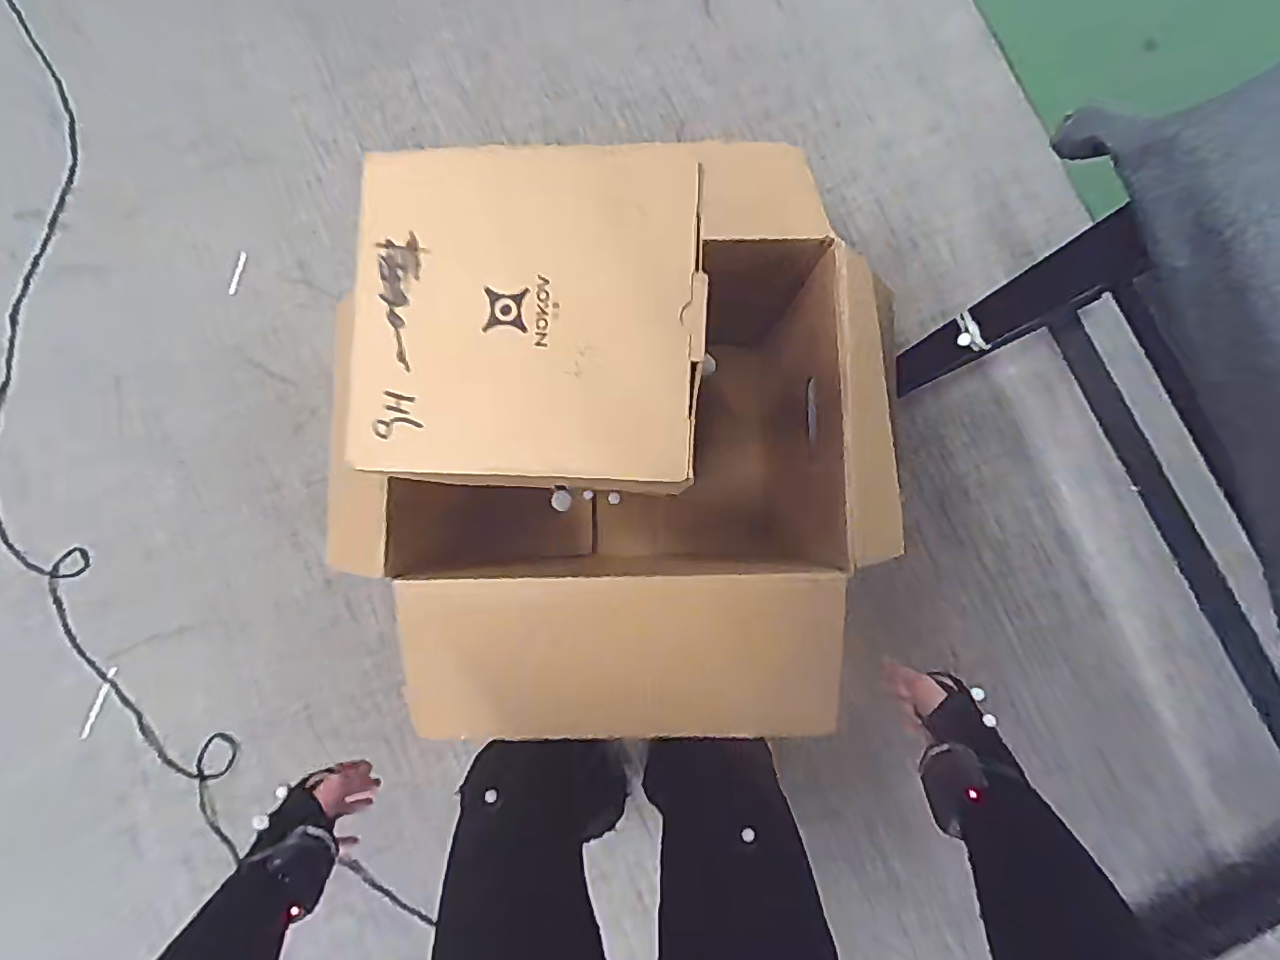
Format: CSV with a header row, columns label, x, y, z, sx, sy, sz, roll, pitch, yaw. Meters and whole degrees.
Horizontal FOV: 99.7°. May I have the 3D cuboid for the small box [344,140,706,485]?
label,x,y,z,sx,sy,sz,roll,pitch,yaw
small box,-0.056,-0.083,0.350,0.179,0.176,0.168,2,87,2
